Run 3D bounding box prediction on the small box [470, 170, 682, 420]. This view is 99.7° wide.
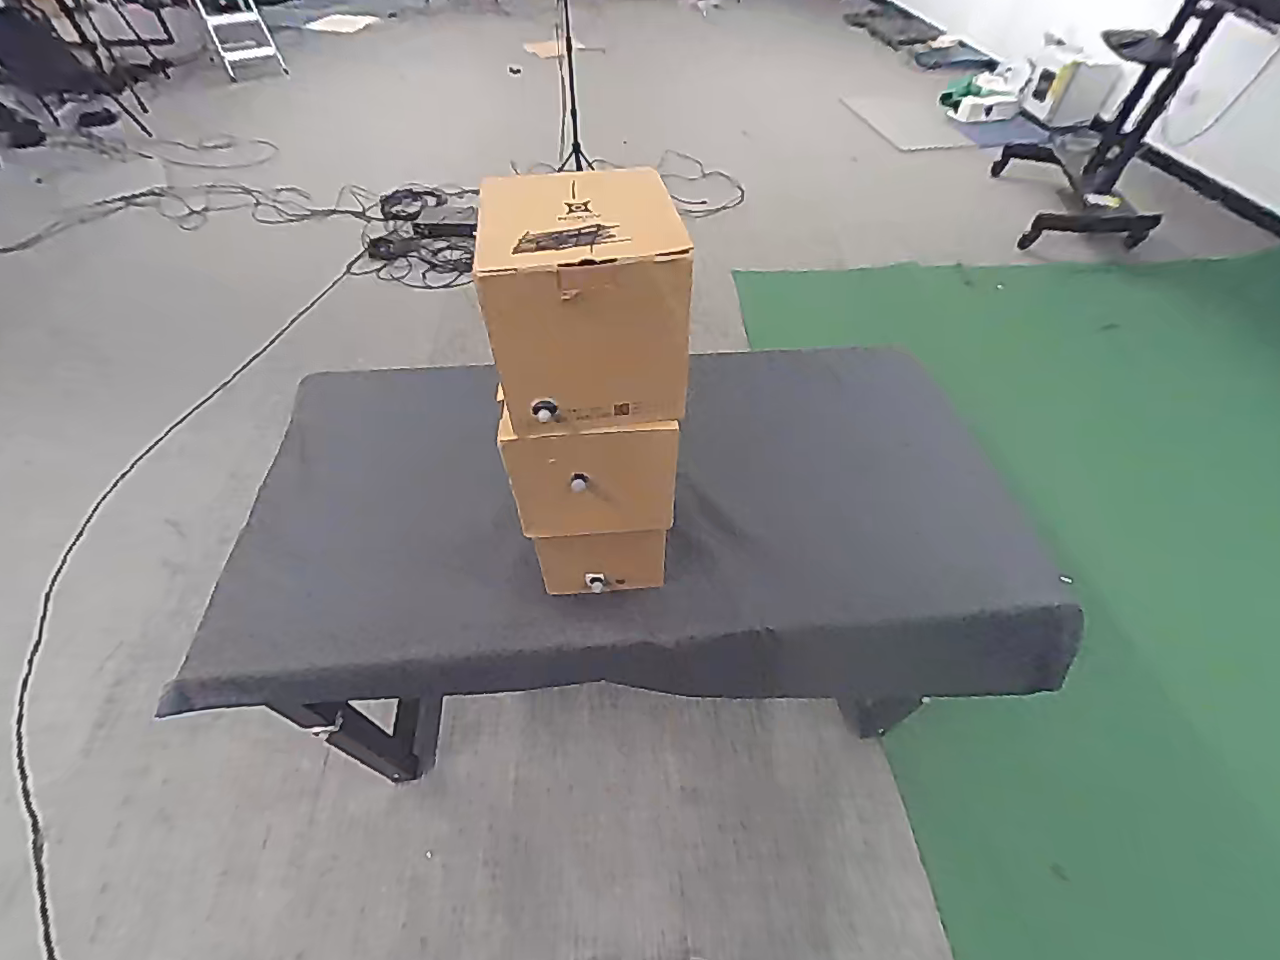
[{"bbox_3d":[-0.056,-0.171,0.519,0.168,0.176,0.179,-7,49,-5],"label":"small box"}]

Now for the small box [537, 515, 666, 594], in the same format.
[{"bbox_3d":[-0.057,0.040,0.771,0.168,0.176,0.179,-6,51,-3],"label":"small box"}]

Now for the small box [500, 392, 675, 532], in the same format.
[{"bbox_3d":[-0.058,-0.053,0.639,0.179,0.176,0.168,-6,48,-5],"label":"small box"}]
